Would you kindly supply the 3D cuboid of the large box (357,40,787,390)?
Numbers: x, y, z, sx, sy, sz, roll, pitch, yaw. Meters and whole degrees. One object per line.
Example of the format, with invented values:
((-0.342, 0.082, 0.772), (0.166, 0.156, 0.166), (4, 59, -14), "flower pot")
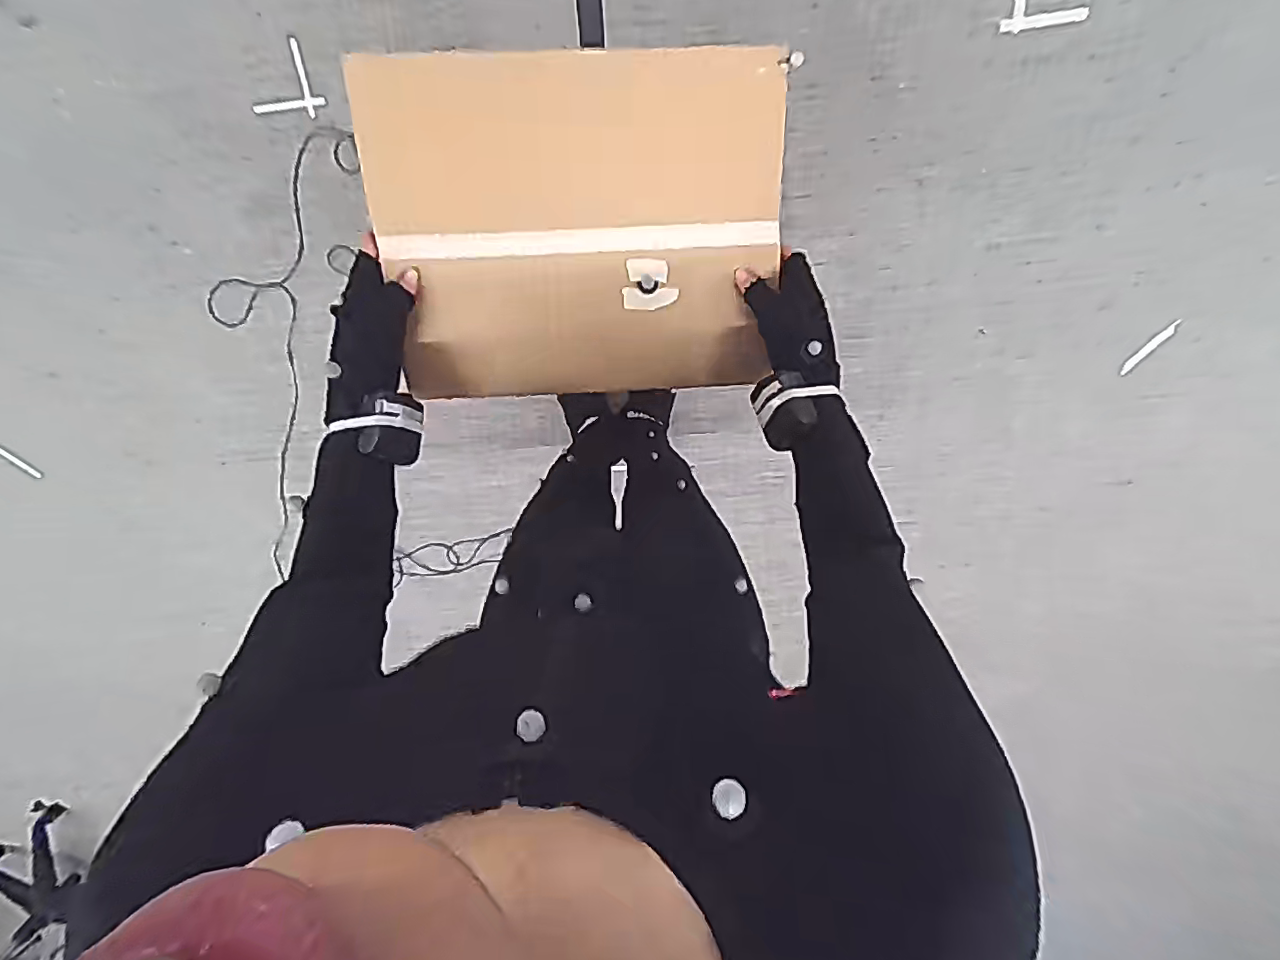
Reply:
((-0.064, -0.306, 0.686), (0.408, 0.320, 0.320), (-3, 112, -2), "large box")
